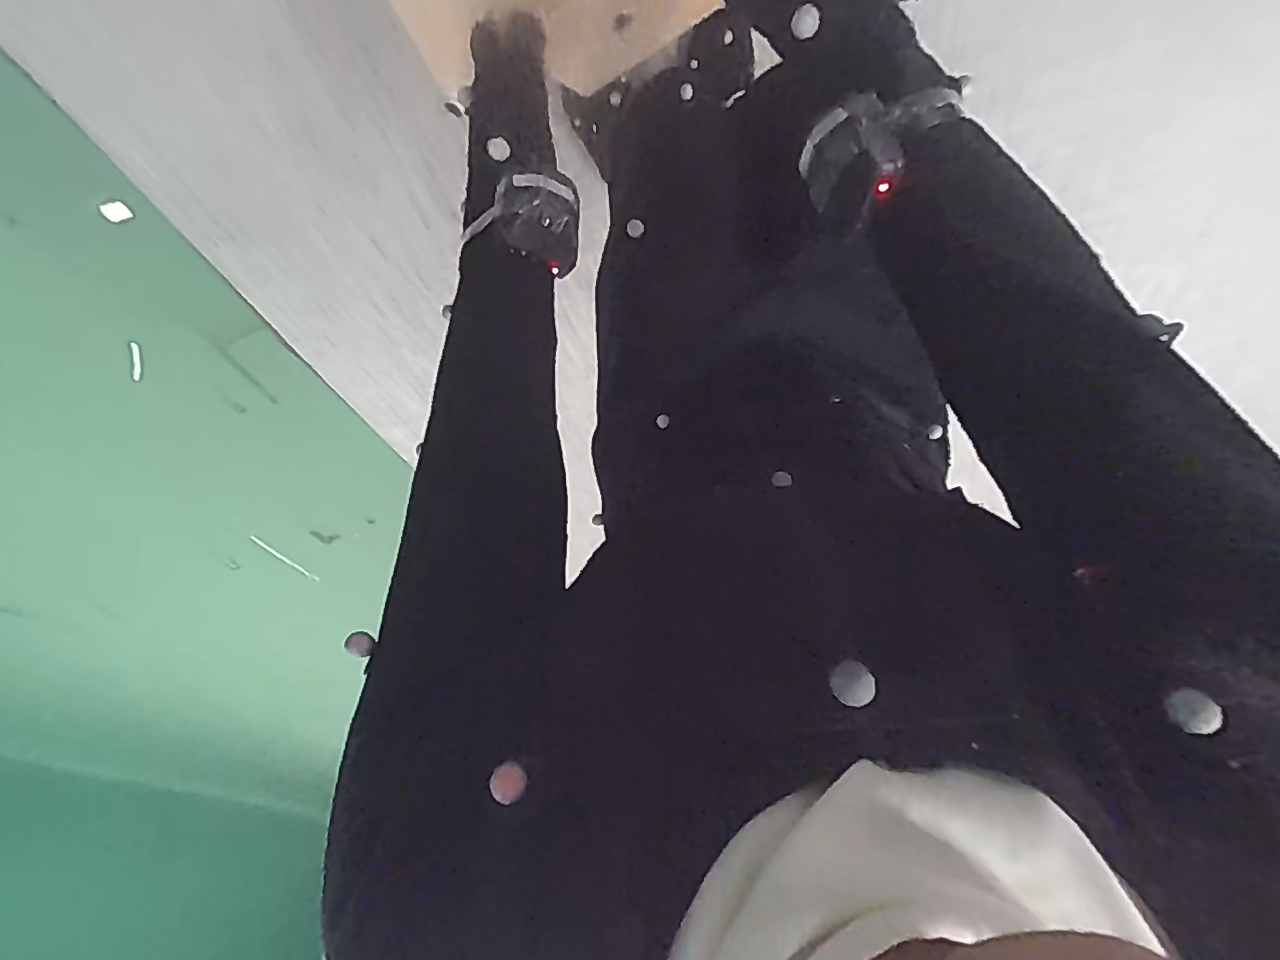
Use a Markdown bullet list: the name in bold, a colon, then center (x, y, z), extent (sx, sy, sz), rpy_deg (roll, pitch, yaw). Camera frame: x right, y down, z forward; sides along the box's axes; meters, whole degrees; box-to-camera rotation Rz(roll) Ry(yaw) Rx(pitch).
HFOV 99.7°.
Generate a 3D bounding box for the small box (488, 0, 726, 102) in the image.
- **small box**: center (-0.034, -0.463, 0.452), extent (0.179, 0.176, 0.168), rpy_deg (-17, 104, 26)

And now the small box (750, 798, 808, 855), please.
- **small box**: center (0.548, 1.370, 2.130), extent (0.179, 0.176, 0.168), rpy_deg (-16, 138, 13)
